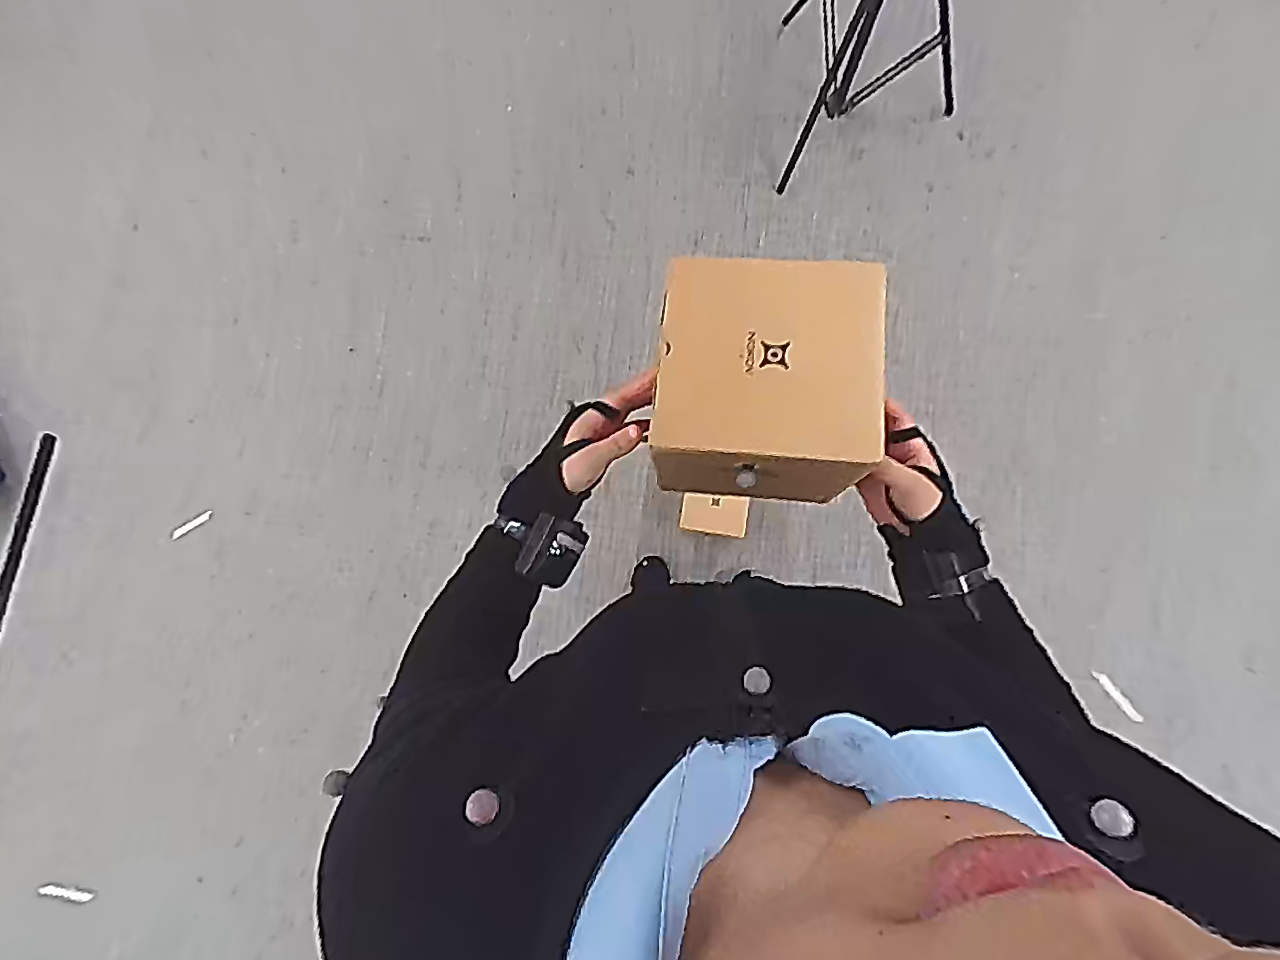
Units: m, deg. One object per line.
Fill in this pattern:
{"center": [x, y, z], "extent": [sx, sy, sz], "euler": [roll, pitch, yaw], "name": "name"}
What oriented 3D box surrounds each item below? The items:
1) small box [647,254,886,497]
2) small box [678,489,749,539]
{"center": [0.106, -0.081, 0.494], "extent": [0.179, 0.176, 0.168], "euler": [4, 78, 7], "name": "small box"}
{"center": [0.196, 0.061, 1.447], "extent": [0.168, 0.176, 0.179], "euler": [9, 82, 4], "name": "small box"}
